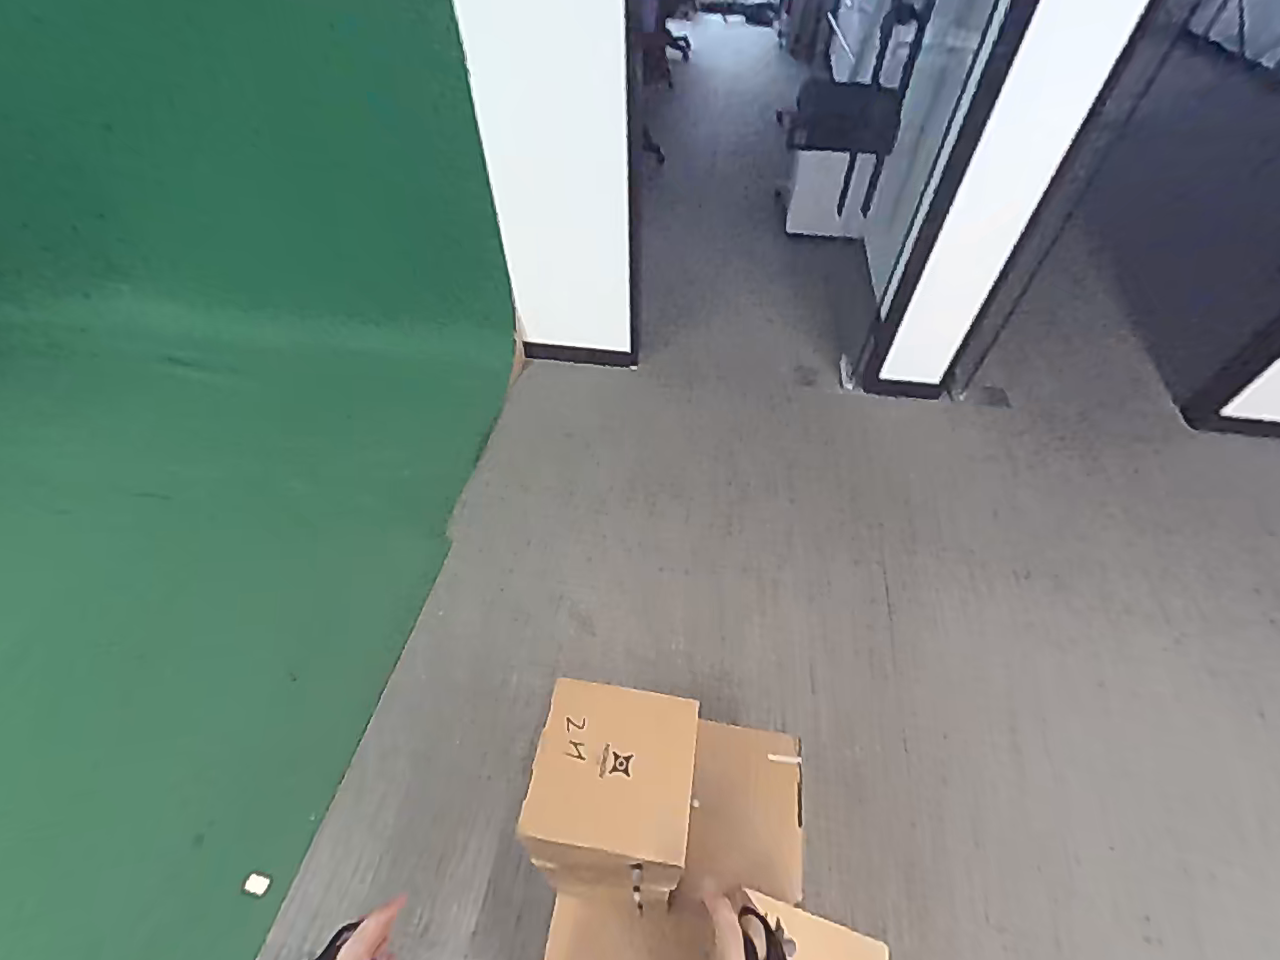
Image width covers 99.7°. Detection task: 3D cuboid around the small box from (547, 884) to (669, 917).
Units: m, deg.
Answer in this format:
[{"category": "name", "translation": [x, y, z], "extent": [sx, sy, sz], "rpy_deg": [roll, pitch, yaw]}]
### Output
[{"category": "small box", "translation": [-0.039, 0.596, 0.885], "extent": [0.179, 0.176, 0.168], "rpy_deg": [6, 47, 5]}]

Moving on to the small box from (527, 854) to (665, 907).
[{"category": "small box", "translation": [-0.044, 0.483, 0.768], "extent": [0.179, 0.176, 0.168], "rpy_deg": [8, 47, 5]}]

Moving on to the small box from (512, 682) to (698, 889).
[{"category": "small box", "translation": [-0.032, 0.369, 0.649], "extent": [0.179, 0.176, 0.168], "rpy_deg": [8, 47, 7]}]

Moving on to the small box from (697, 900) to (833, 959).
[{"category": "small box", "translation": [0.165, 0.731, 0.763], "extent": [0.168, 0.176, 0.179], "rpy_deg": [11, 49, 9]}]
